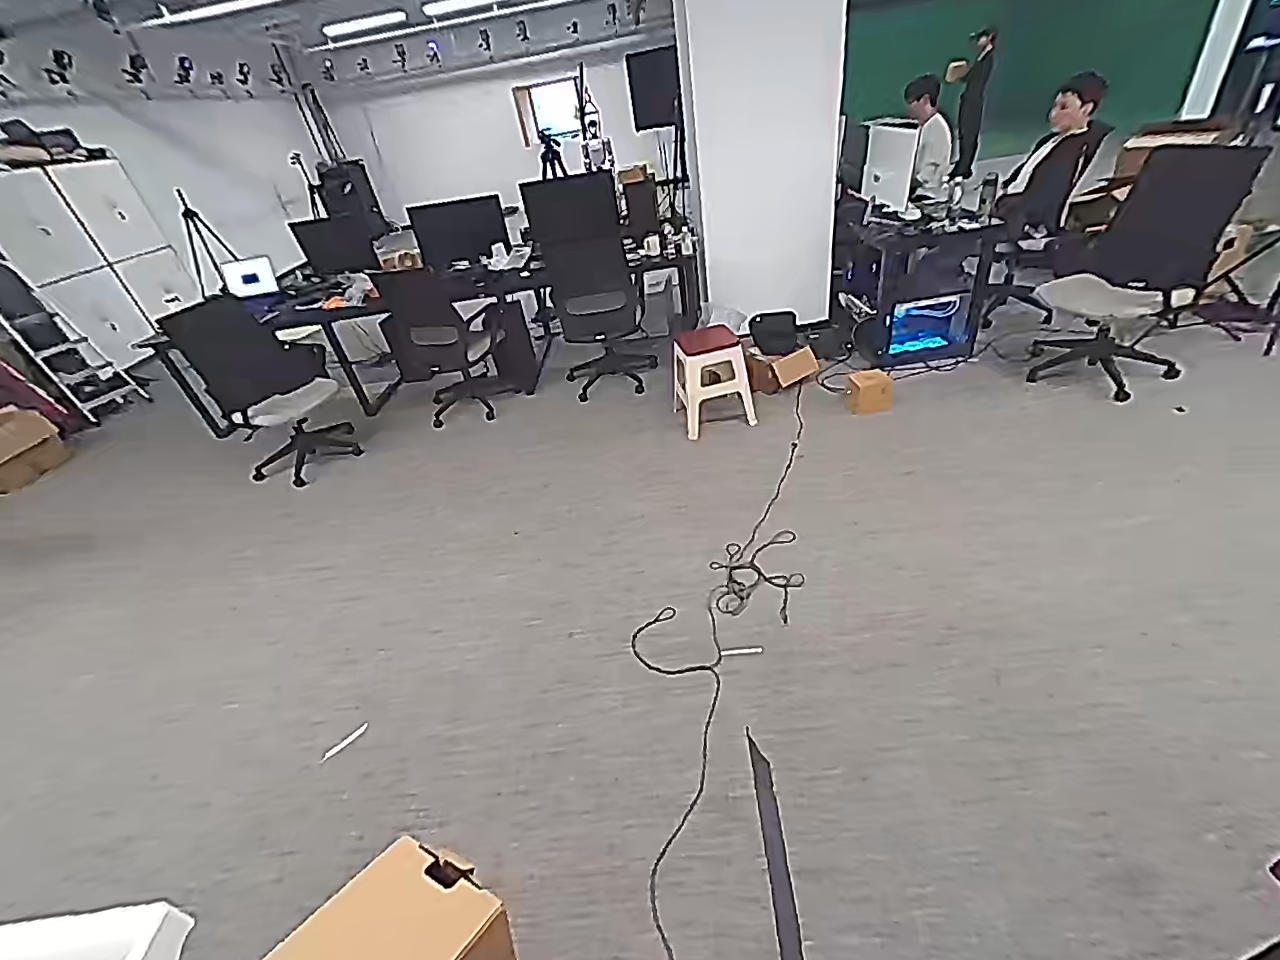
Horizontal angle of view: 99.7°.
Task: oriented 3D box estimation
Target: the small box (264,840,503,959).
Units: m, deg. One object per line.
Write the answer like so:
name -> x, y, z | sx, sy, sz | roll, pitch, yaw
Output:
small box -> -0.241, 0.513, 0.523 | 0.168, 0.176, 0.179 | 4, 17, 33
